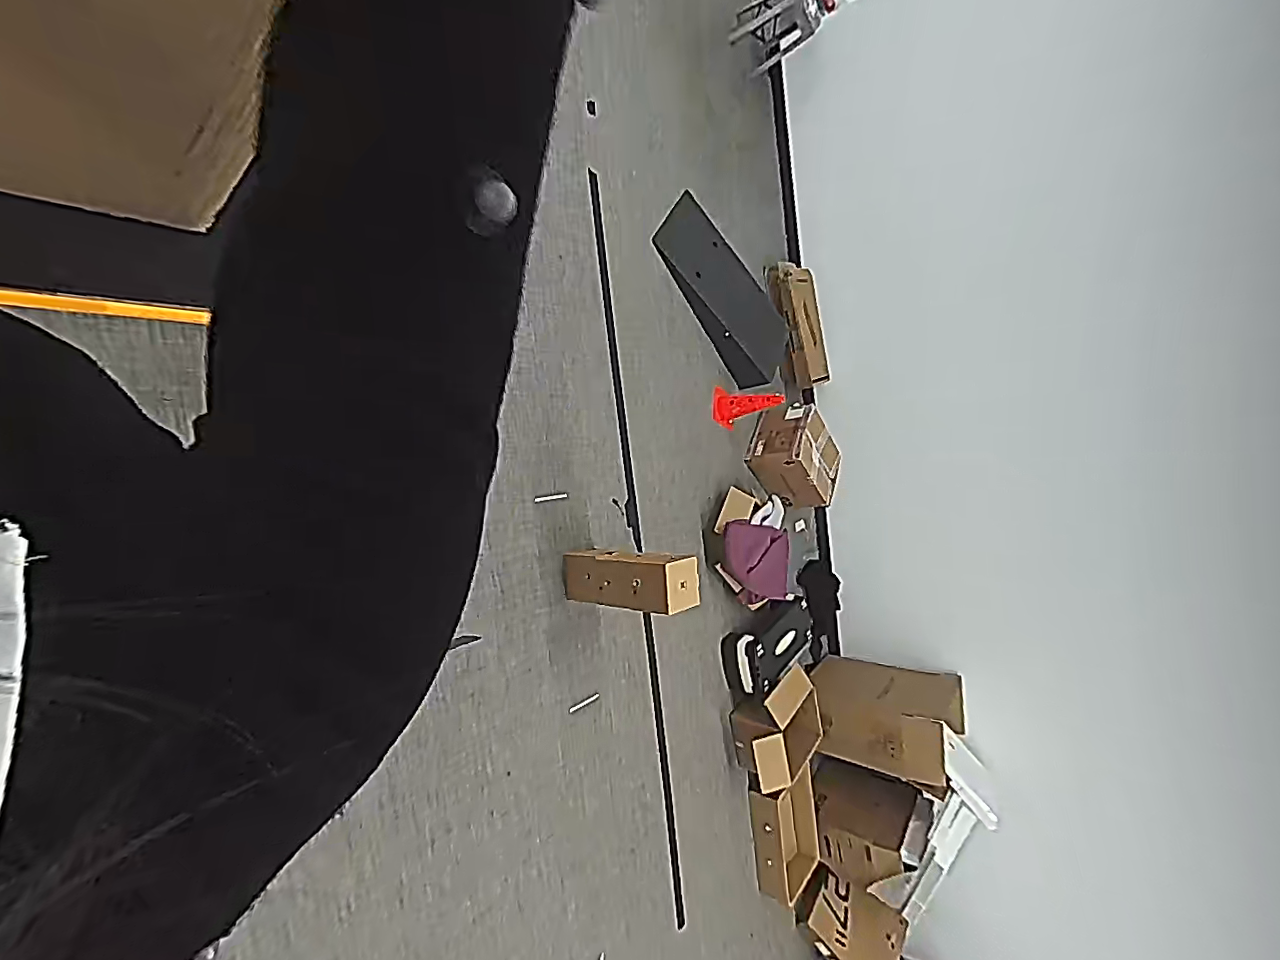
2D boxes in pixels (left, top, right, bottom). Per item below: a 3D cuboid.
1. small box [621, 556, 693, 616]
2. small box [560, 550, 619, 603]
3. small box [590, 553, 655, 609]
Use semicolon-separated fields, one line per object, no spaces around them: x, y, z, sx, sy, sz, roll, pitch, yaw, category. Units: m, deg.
0.057;0.349;1.821;0.179;0.176;0.168;-4;89;-49;small box
-0.188;0.358;2.038;0.168;0.176;0.179;-3;90;-50;small box
-0.058;0.356;1.936;0.179;0.176;0.168;-3;90;-50;small box
